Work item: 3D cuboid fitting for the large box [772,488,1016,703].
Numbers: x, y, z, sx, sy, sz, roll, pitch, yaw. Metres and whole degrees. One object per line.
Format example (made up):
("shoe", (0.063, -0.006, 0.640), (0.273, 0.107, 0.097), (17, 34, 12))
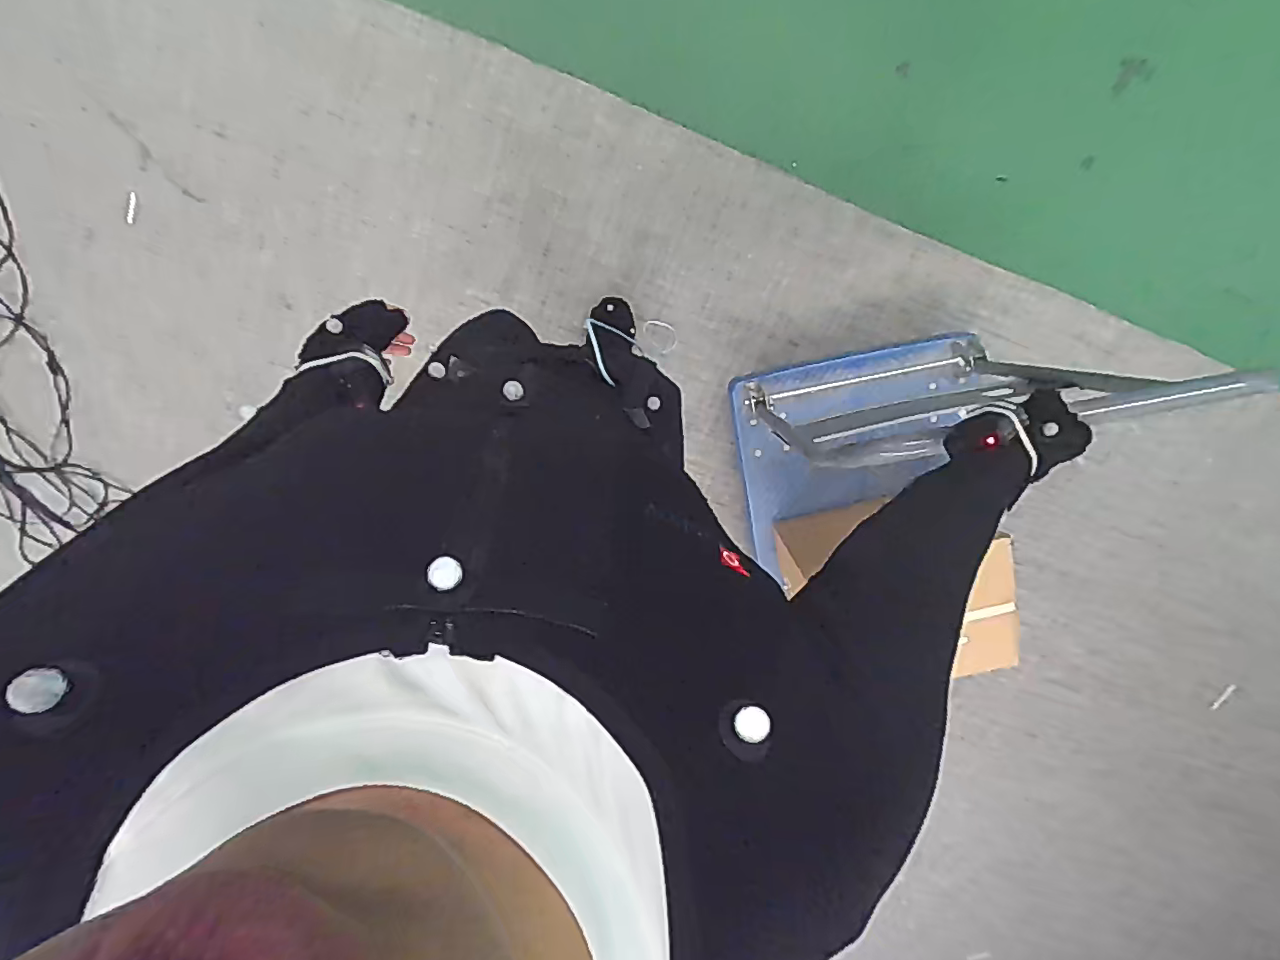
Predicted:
("large box", (0.566, 0.250, 1.260), (0.408, 0.320, 0.320), (-15, 109, 3))
